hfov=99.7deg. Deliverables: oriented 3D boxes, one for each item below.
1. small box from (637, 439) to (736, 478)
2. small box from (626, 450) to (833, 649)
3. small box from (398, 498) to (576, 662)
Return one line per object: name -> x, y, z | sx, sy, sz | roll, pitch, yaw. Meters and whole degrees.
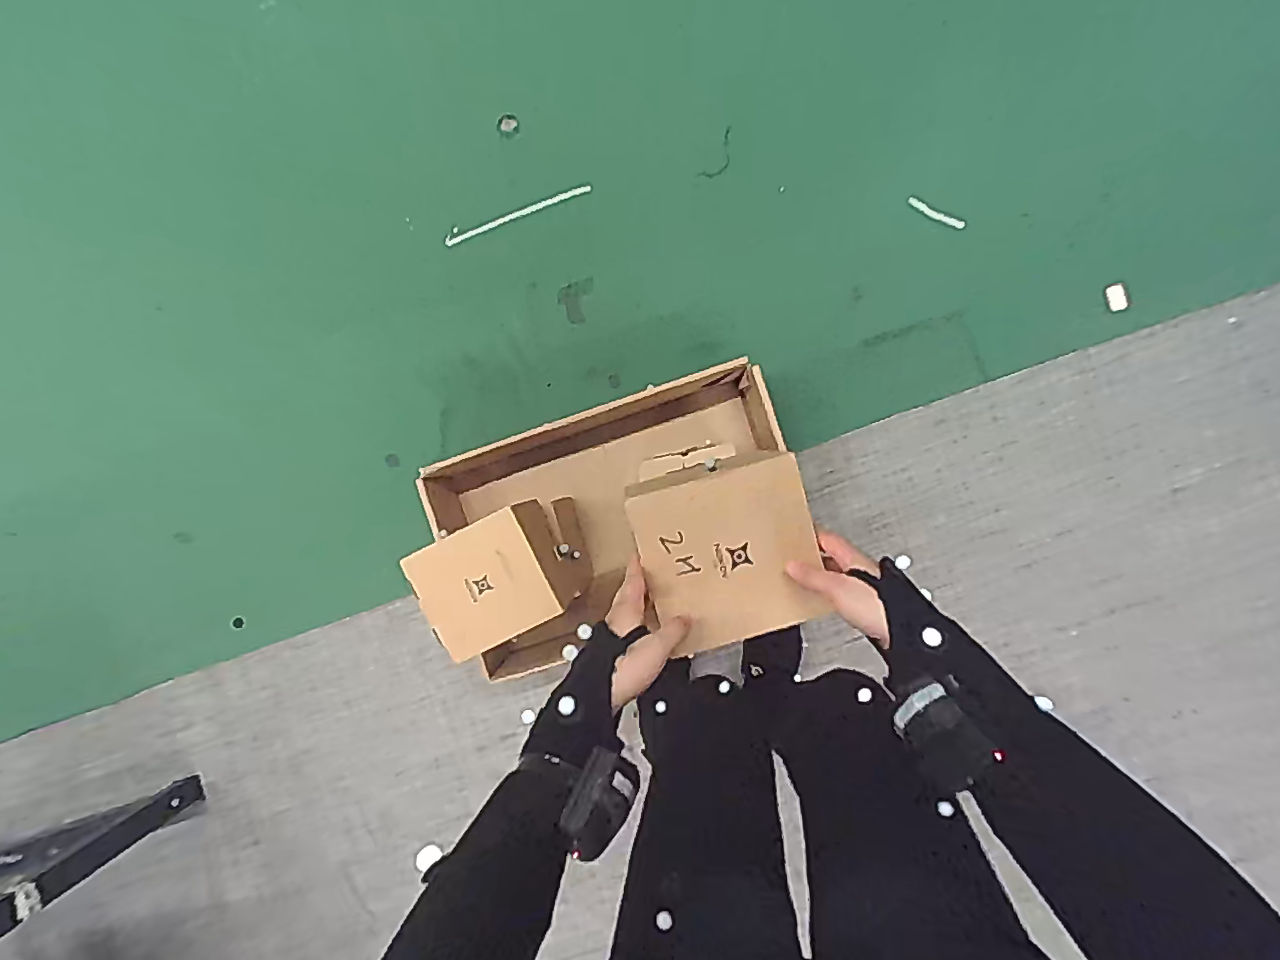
small box -> 0.091, 0.030, 0.954 | 0.168, 0.176, 0.179 | -11, 93, 4
small box -> 0.087, 0.063, 0.614 | 0.179, 0.176, 0.168 | -15, 94, -2
small box -> -0.214, 0.137, 0.806 | 0.179, 0.176, 0.168 | -26, 91, 2
